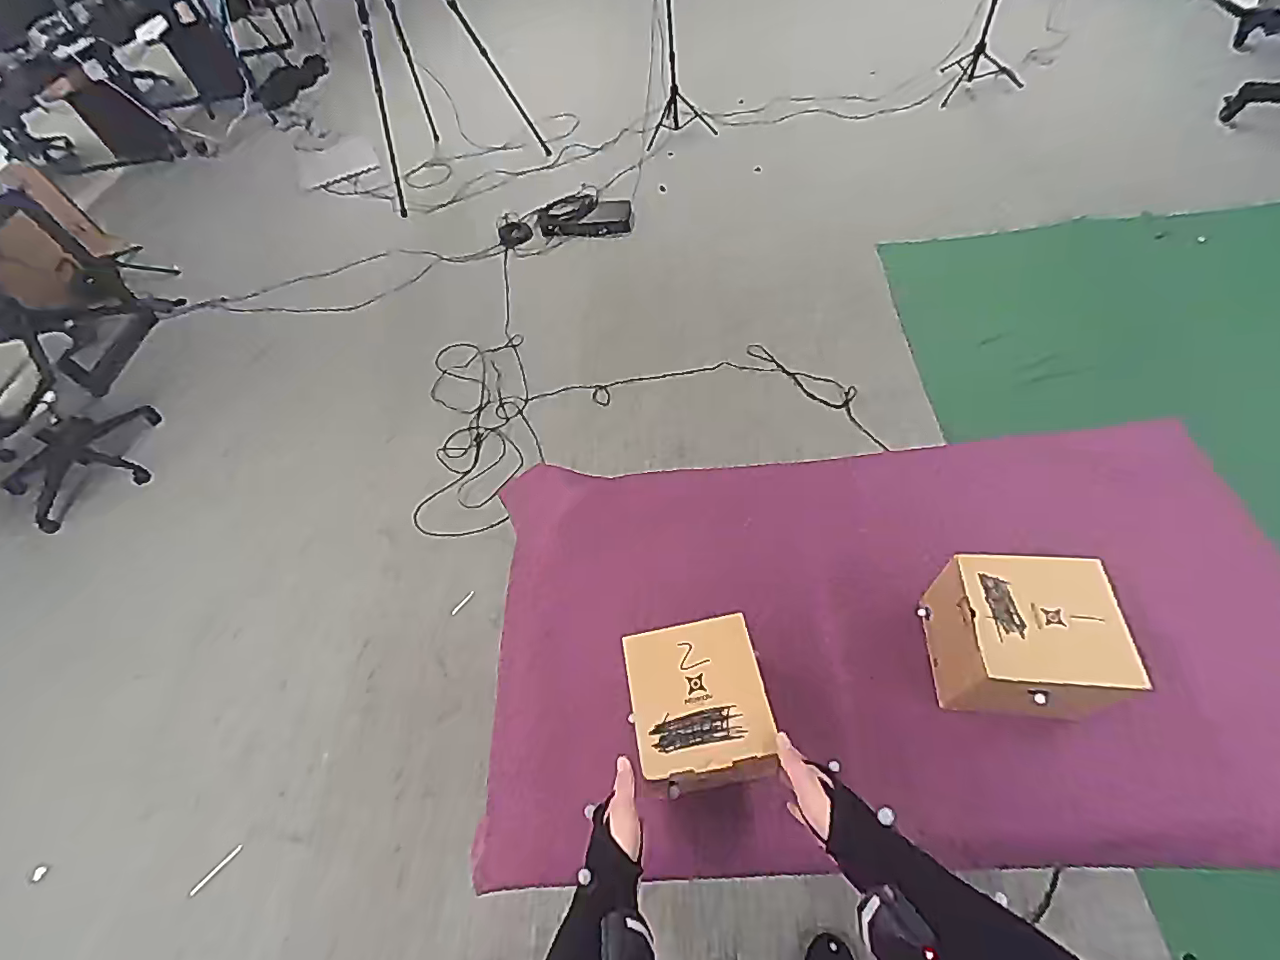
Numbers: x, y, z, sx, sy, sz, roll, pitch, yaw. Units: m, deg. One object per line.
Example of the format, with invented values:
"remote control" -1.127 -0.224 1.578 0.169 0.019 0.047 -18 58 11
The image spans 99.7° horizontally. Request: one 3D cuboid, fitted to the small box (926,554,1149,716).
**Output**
"small box" 0.509 0.213 0.733 0.179 0.176 0.168 1 56 9
